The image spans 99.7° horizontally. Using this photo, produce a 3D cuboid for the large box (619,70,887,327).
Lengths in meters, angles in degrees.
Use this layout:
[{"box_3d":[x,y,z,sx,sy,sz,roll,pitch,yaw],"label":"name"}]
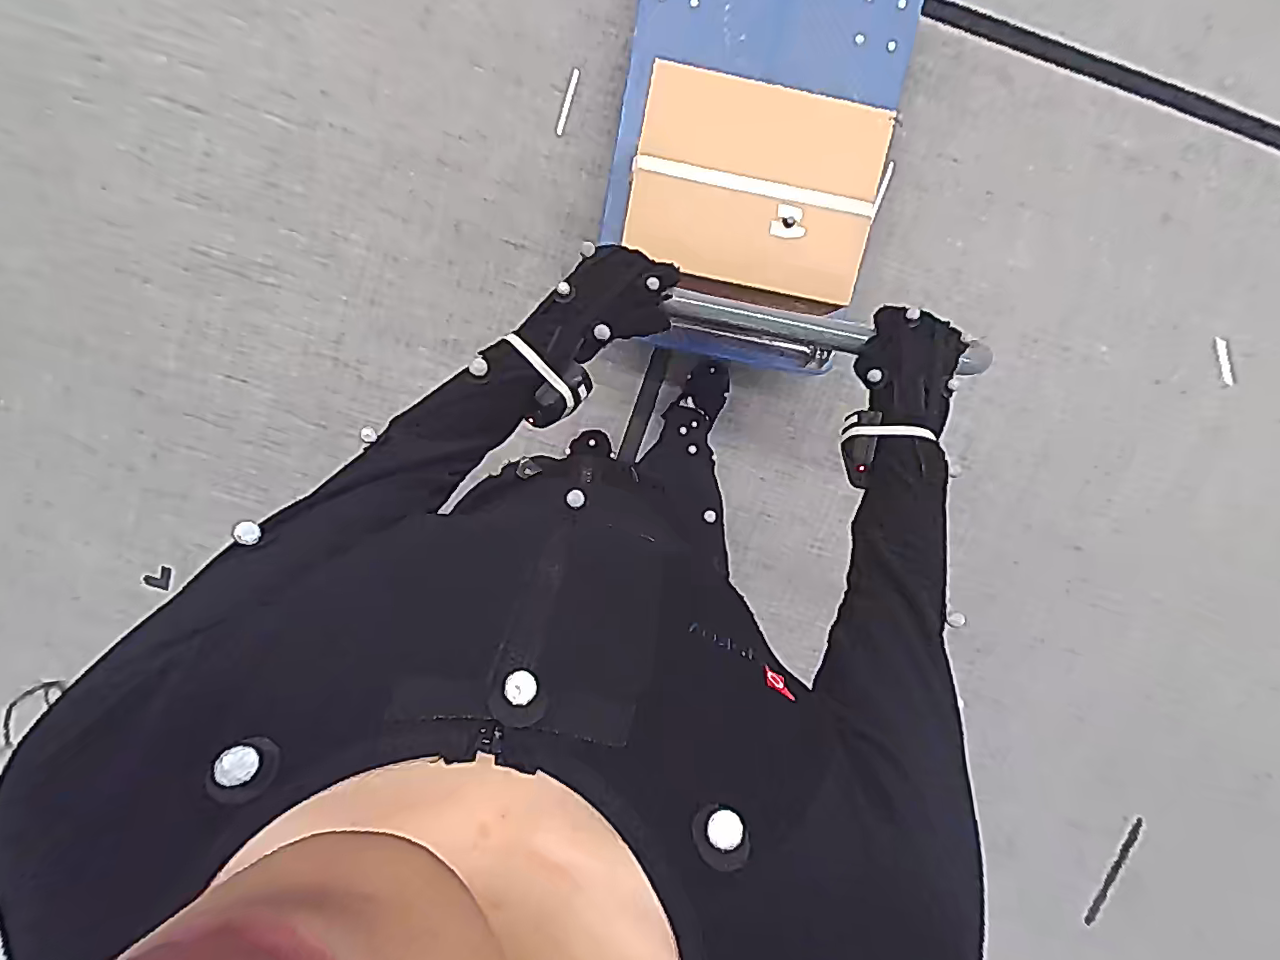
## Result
[{"box_3d":[0.180,-0.502,1.044,0.408,0.320,0.320,11,100,-3],"label":"large box"}]
